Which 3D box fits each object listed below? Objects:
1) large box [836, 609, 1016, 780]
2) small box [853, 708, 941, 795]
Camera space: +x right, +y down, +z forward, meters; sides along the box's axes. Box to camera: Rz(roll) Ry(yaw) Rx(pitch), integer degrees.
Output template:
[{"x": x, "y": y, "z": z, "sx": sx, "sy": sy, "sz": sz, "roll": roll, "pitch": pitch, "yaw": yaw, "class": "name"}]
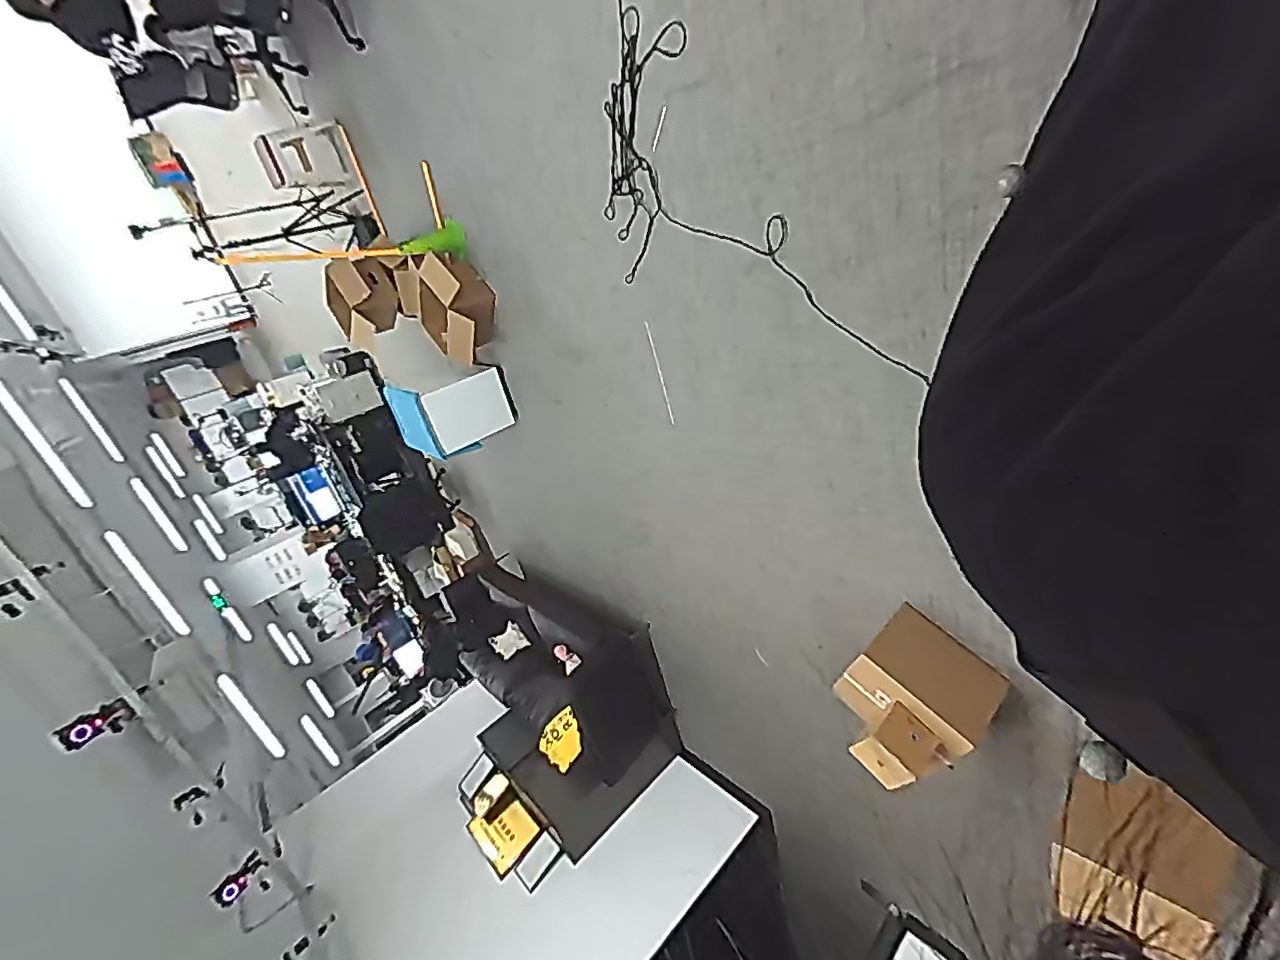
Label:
[{"x": 0.985, "y": 0.740, "z": 1.894, "sx": 0.408, "sy": 0.320, "sz": 0.320, "roll": 42, "pitch": 144, "yaw": 28, "class": "large box"}, {"x": 0.836, "y": 0.880, "z": 1.754, "sx": 0.168, "sy": 0.176, "sz": 0.179, "roll": 43, "pitch": 146, "yaw": 24, "class": "small box"}]
